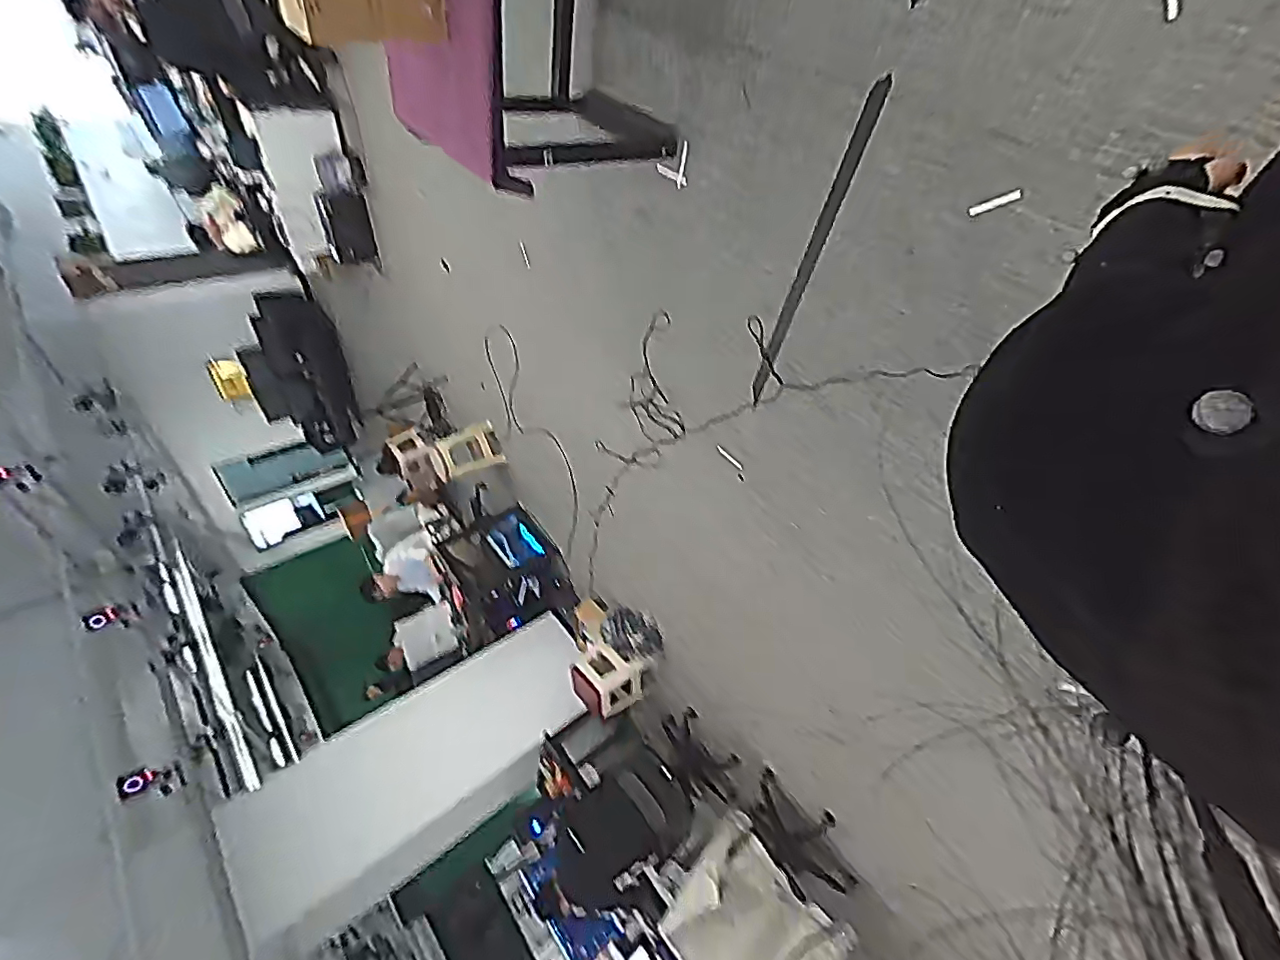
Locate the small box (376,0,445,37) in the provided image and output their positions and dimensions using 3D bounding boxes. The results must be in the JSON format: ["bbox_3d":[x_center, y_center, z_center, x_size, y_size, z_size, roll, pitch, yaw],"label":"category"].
[{"bbox_3d":[-0.593,-1.203,1.313,0.179,0.176,0.168,46,144,25],"label":"small box"}]

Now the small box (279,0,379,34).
[{"bbox_3d":[-0.718,-1.141,1.227,0.179,0.176,0.168,47,145,25],"label":"small box"}]
